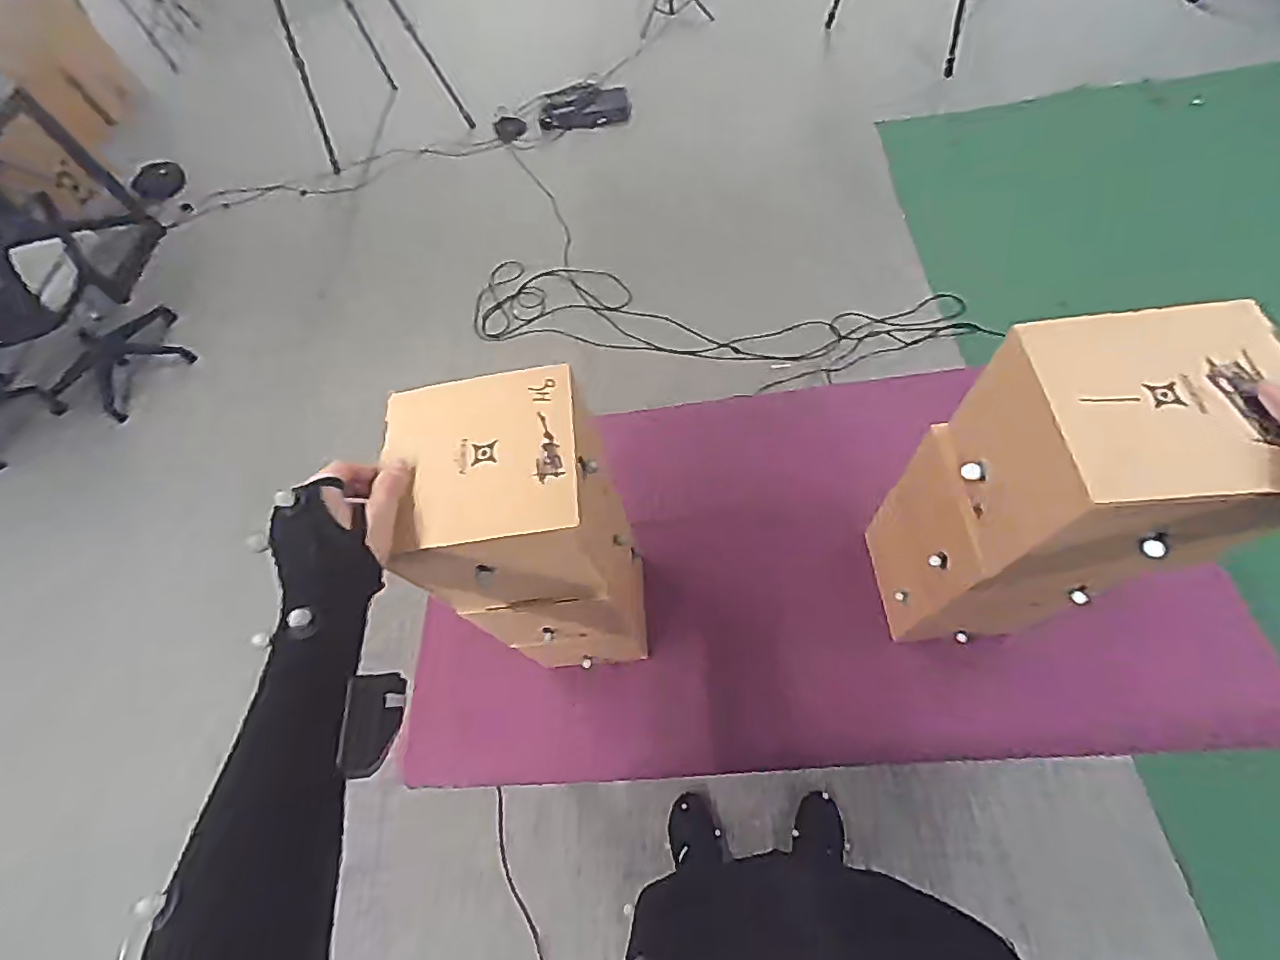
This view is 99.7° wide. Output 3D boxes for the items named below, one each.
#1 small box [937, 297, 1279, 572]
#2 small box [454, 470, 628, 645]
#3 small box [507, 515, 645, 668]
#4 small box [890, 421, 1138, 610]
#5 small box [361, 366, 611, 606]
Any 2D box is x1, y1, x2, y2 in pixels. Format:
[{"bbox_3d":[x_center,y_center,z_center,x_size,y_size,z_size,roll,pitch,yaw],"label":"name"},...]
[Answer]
[{"bbox_3d":[0.390,-0.027,0.463,0.179,0.176,0.168,-5,61,8],"label":"small box"},{"bbox_3d":[-0.112,0.095,0.676,0.168,0.176,0.179,-8,61,5],"label":"small box"},{"bbox_3d":[-0.088,0.173,0.817,0.168,0.176,0.179,-7,61,6],"label":"small box"},{"bbox_3d":[0.406,0.042,0.611,0.168,0.176,0.179,-7,61,6],"label":"small box"},{"bbox_3d":[-0.135,0.017,0.535,0.179,0.176,0.168,-10,62,5],"label":"small box"}]
